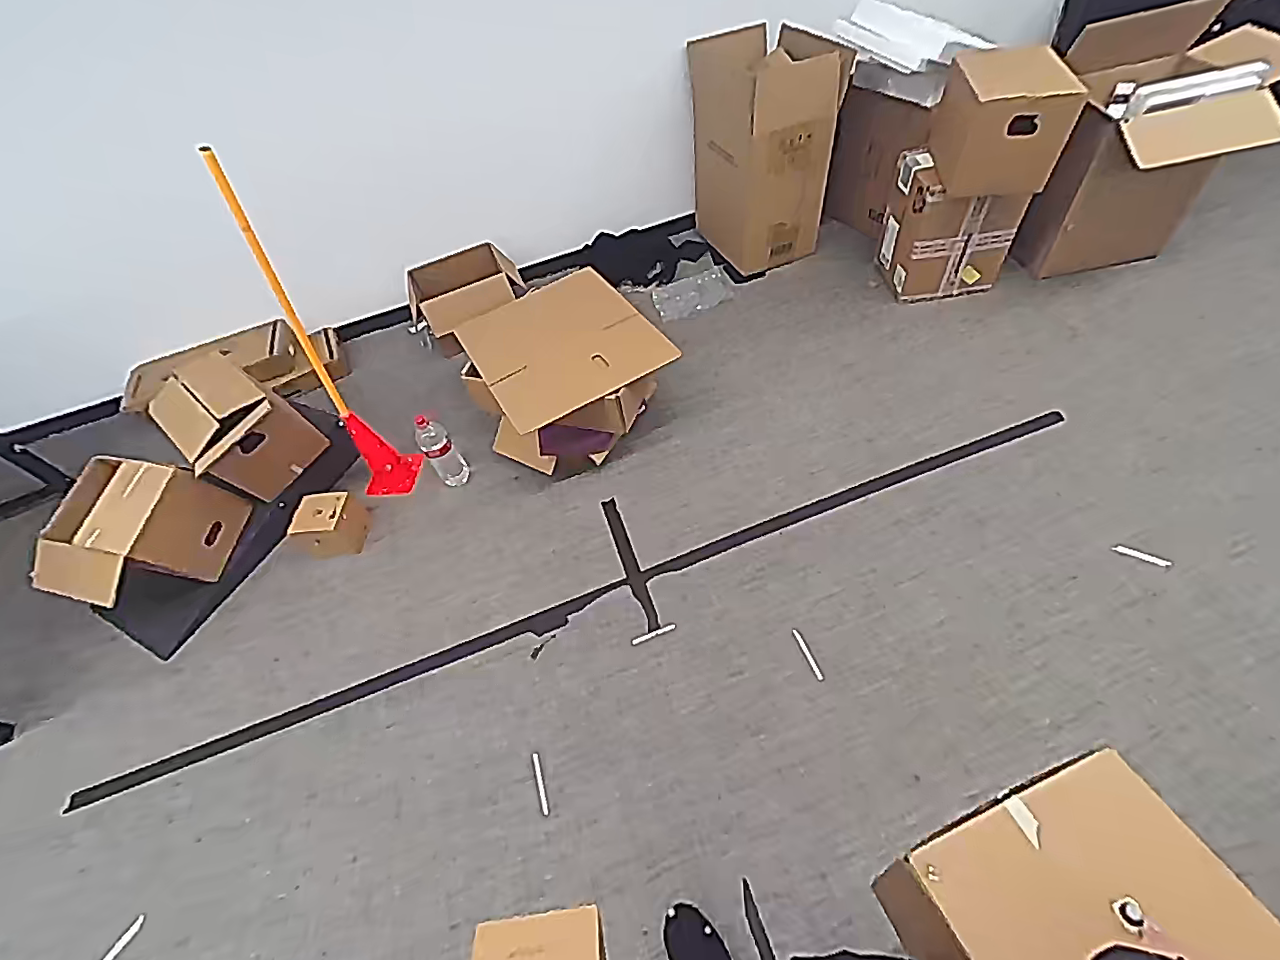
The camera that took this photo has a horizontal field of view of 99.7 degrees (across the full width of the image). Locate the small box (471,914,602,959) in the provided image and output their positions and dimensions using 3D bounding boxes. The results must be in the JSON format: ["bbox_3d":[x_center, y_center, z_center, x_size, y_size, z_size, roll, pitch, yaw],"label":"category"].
[{"bbox_3d":[-0.125,0.703,0.680,0.168,0.176,0.179,-5,22,-5],"label":"small box"}]
